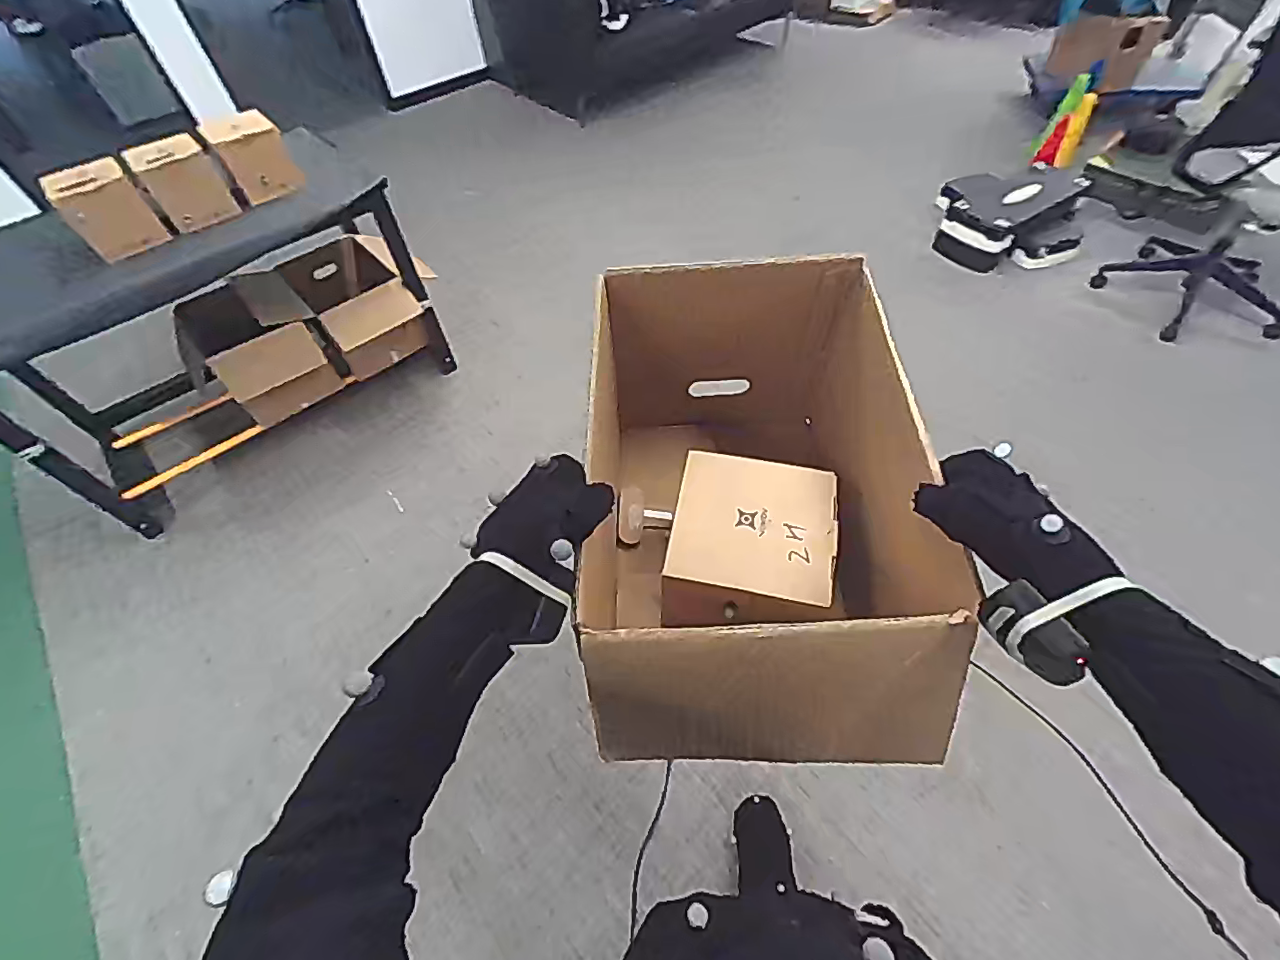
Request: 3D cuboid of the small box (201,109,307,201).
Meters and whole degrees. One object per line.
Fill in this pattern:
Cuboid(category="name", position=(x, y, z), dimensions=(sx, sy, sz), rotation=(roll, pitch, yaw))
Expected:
Cuboid(category="small box", position=(-1.112, -0.939, 1.567), dimensions=(0.168, 0.176, 0.179), rotation=(-36, 60, -21))
